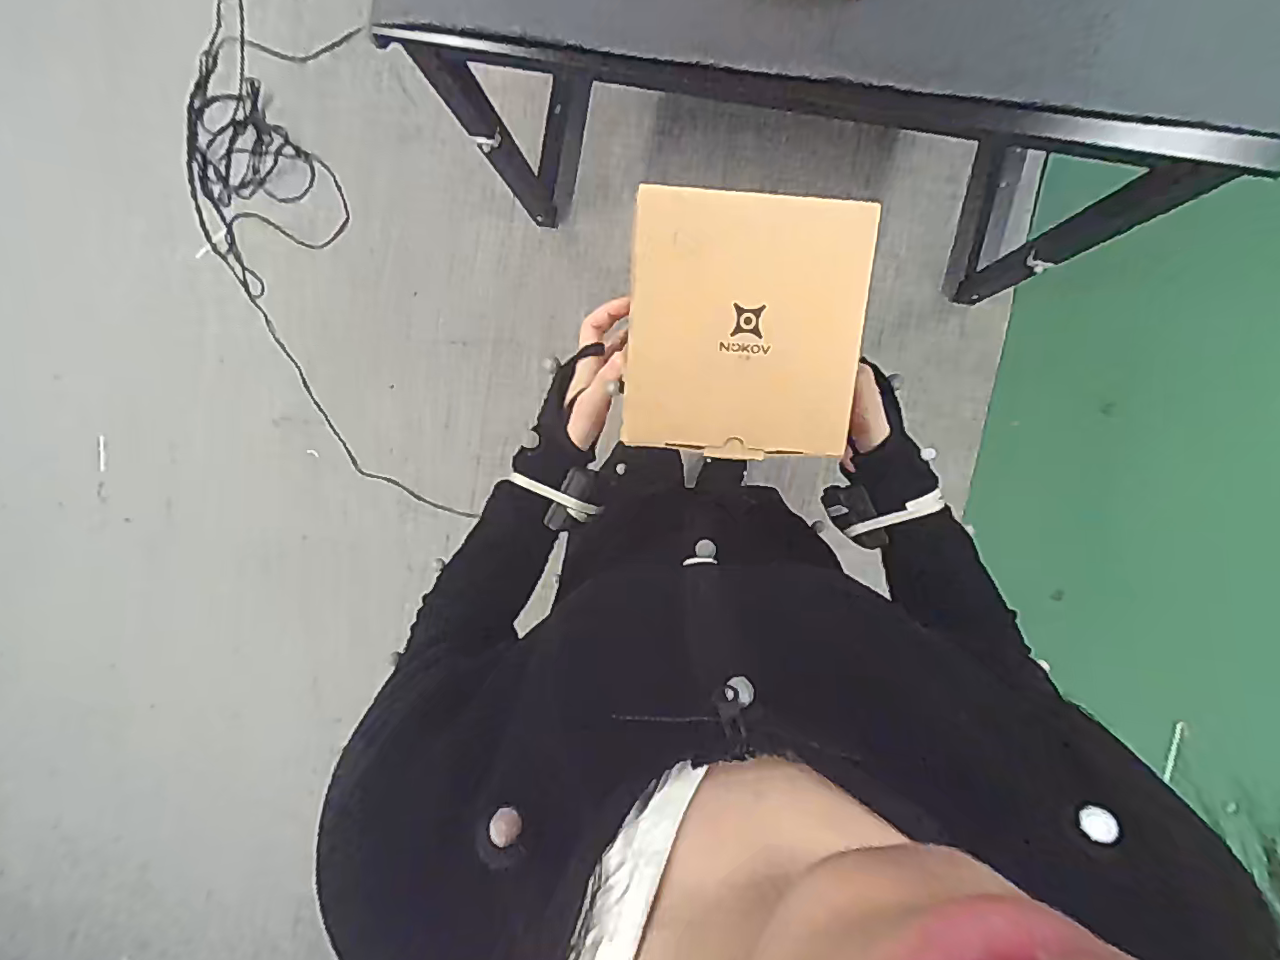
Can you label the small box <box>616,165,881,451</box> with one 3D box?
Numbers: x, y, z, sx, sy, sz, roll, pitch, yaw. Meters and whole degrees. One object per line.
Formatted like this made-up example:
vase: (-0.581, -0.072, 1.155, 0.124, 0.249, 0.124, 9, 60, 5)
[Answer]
small box: (0.067, -0.124, 0.438, 0.168, 0.176, 0.179, 3, 100, -2)
